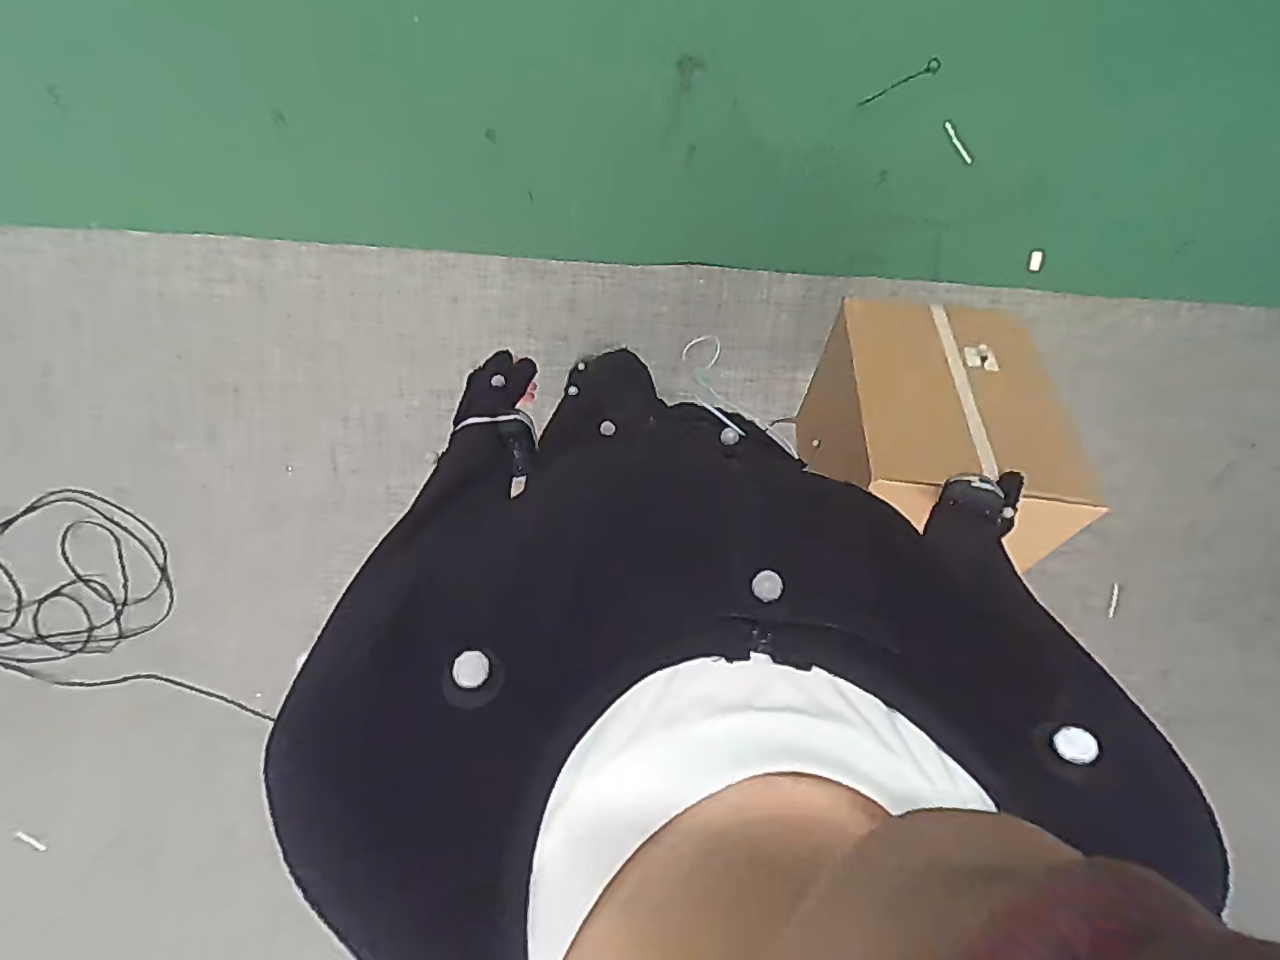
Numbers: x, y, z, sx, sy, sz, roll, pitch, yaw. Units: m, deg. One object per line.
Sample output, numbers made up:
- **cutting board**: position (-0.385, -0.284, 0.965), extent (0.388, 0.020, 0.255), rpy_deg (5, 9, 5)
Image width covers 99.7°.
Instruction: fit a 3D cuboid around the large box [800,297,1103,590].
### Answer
- **large box**: position (0.483, -0.061, 0.955), extent (0.320, 0.320, 0.408), rpy_deg (8, 55, 2)
